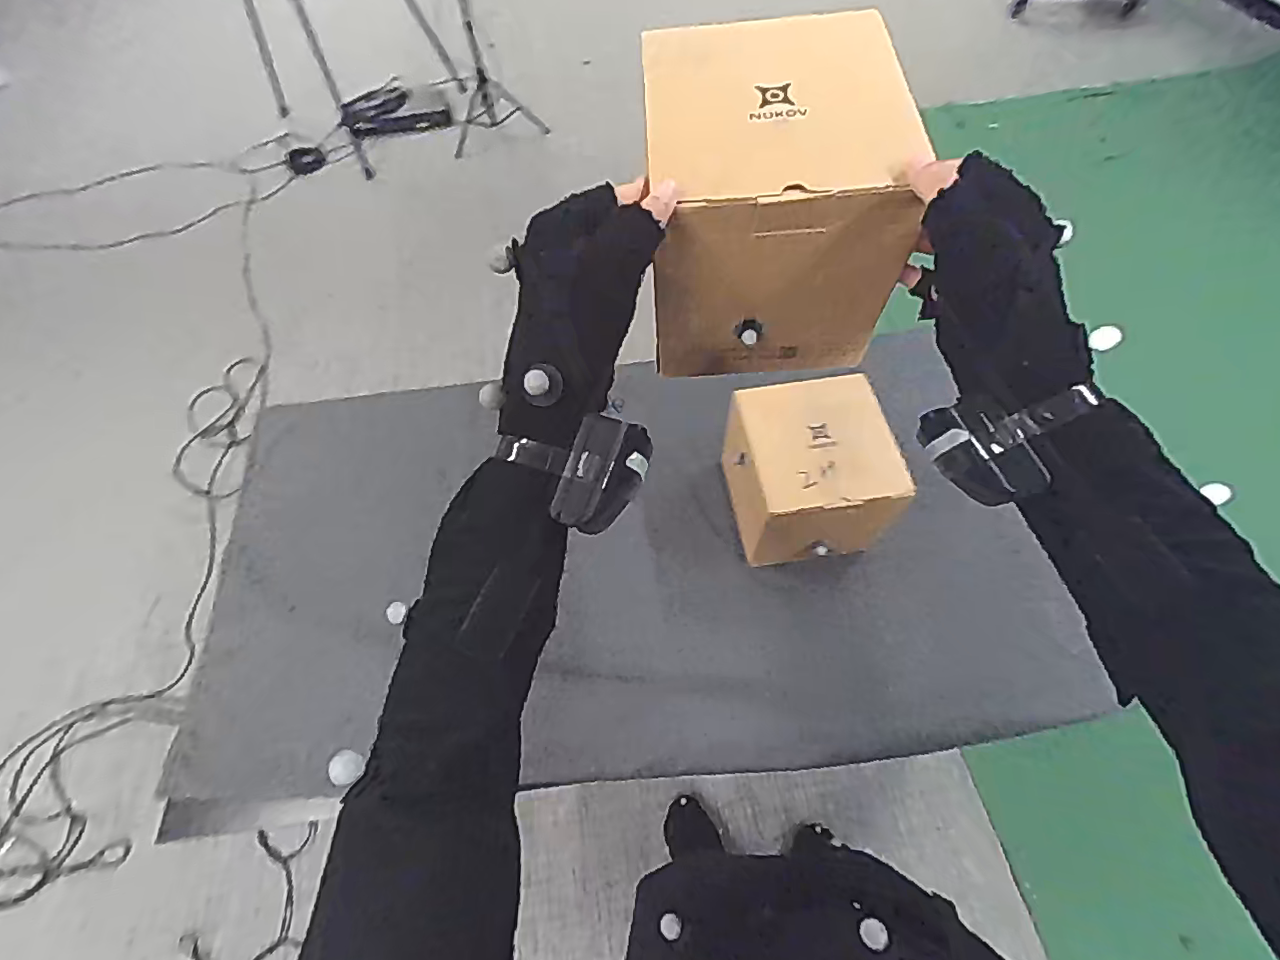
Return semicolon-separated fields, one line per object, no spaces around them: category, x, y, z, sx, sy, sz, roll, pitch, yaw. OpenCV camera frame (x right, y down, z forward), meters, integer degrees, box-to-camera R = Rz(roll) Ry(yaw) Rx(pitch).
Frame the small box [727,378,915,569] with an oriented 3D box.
small box;0.214;-0.003;0.701;0.168;0.176;0.179;-8;61;-1

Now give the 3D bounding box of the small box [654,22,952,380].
small box;0.097;-0.199;0.412;0.168;0.176;0.179;-4;65;4
